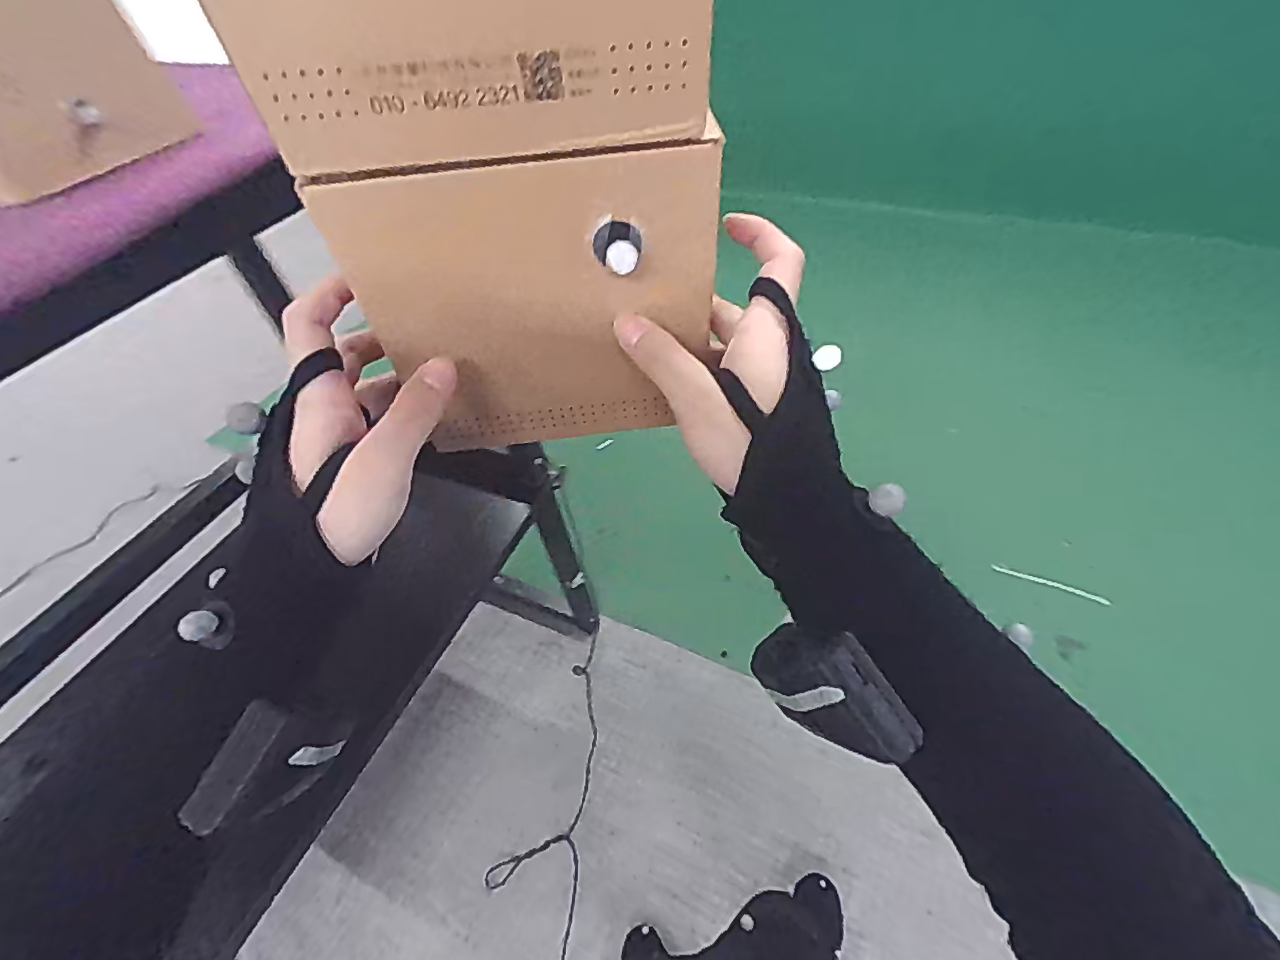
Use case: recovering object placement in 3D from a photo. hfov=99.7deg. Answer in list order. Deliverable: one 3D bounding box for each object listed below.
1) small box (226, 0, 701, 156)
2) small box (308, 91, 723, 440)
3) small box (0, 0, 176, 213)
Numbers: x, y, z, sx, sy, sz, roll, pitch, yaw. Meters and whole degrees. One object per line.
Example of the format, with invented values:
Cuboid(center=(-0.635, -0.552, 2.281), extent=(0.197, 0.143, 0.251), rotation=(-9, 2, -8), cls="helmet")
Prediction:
Cuboid(center=(-0.066, -0.244, 0.206), extent=(0.168, 0.176, 0.179), rotation=(-5, 53, 0), cls="small box")
Cuboid(center=(-0.052, -0.143, 0.334), extent=(0.179, 0.176, 0.168), rotation=(-6, 52, 0), cls="small box")
Cuboid(center=(-0.561, -0.355, 0.465), extent=(0.168, 0.176, 0.179), rotation=(14, 53, 21), cls="small box")
